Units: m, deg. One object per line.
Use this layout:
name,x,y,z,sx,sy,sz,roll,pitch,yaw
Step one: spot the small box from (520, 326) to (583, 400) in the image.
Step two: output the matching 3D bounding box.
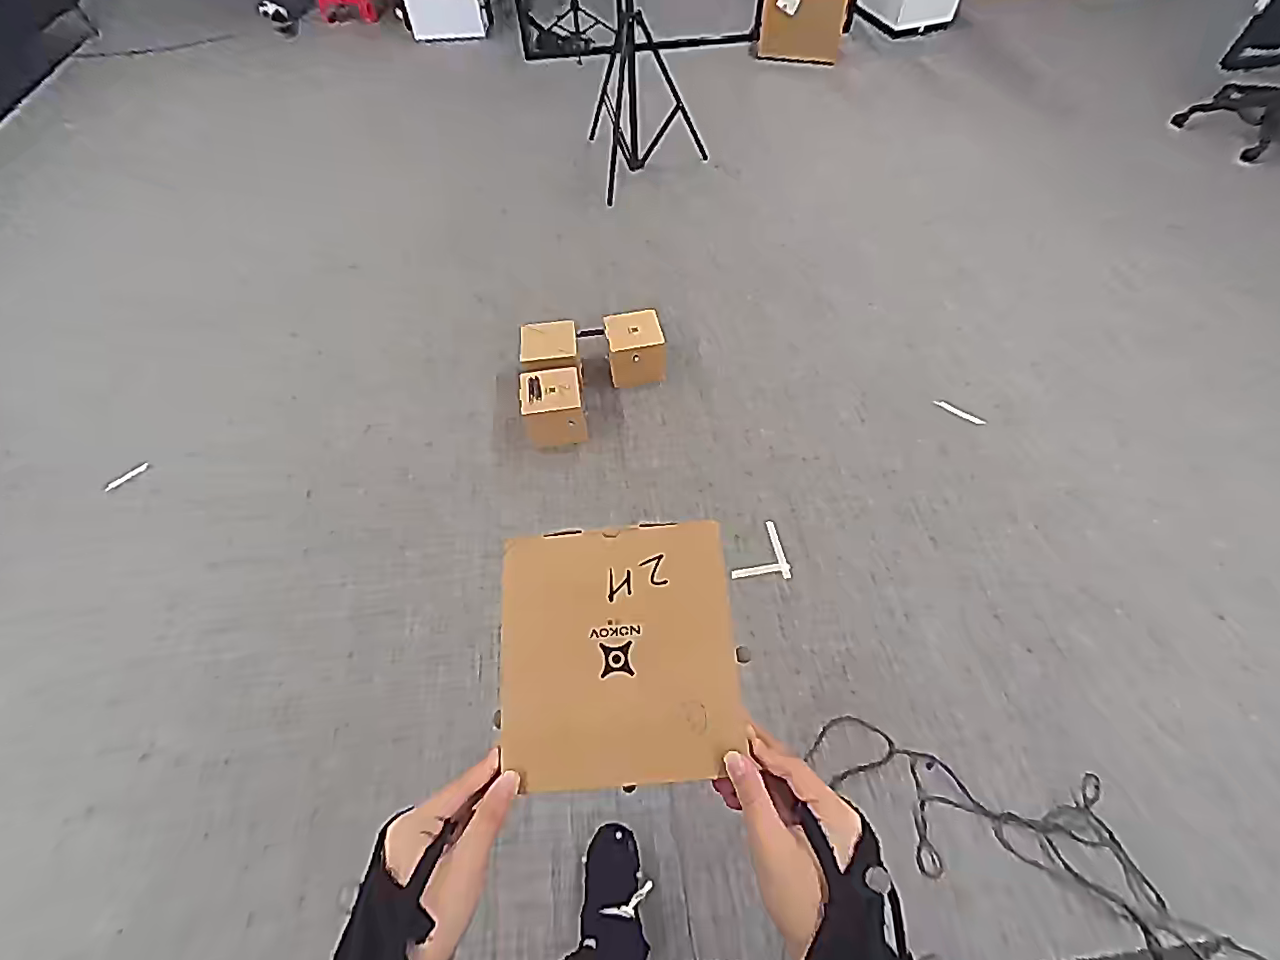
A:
small box,-0.290,-0.387,1.782,0.179,0.176,0.168,-6,57,-3

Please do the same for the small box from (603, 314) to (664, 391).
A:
small box,-0.022,-0.422,1.802,0.179,0.176,0.168,-11,57,-5

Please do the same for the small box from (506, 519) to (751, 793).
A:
small box,-0.007,0.145,0.454,0.168,0.176,0.179,-5,68,2
